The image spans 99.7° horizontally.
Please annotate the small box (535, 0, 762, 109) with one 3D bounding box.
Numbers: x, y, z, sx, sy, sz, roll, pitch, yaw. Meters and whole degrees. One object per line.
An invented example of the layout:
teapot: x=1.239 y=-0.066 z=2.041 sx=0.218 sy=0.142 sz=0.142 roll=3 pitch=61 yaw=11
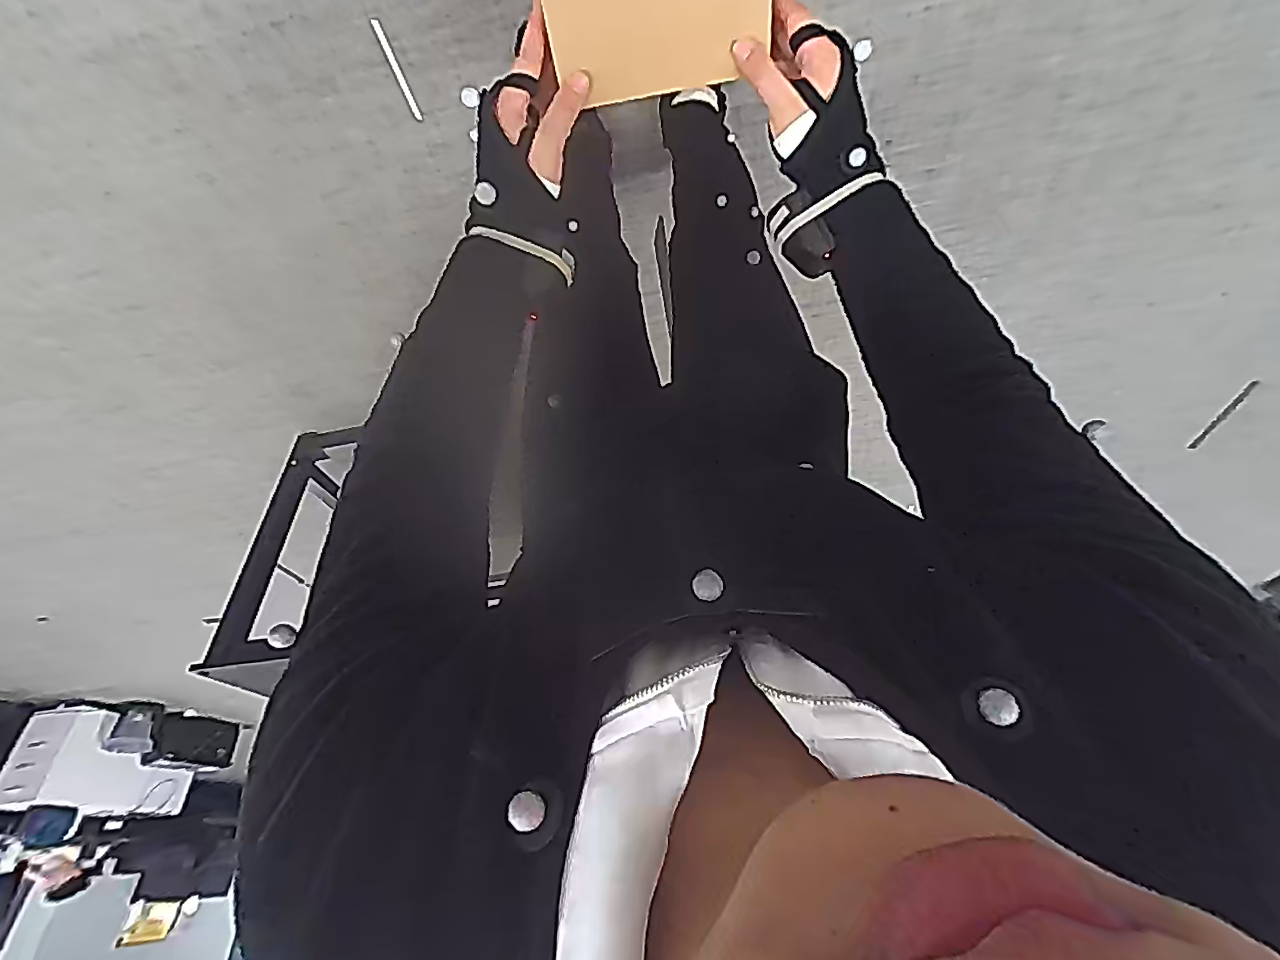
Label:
small box: x=-0.002 y=-0.425 z=0.417 sx=0.168 sy=0.176 sz=0.179 roll=-9 pitch=139 yaw=4
